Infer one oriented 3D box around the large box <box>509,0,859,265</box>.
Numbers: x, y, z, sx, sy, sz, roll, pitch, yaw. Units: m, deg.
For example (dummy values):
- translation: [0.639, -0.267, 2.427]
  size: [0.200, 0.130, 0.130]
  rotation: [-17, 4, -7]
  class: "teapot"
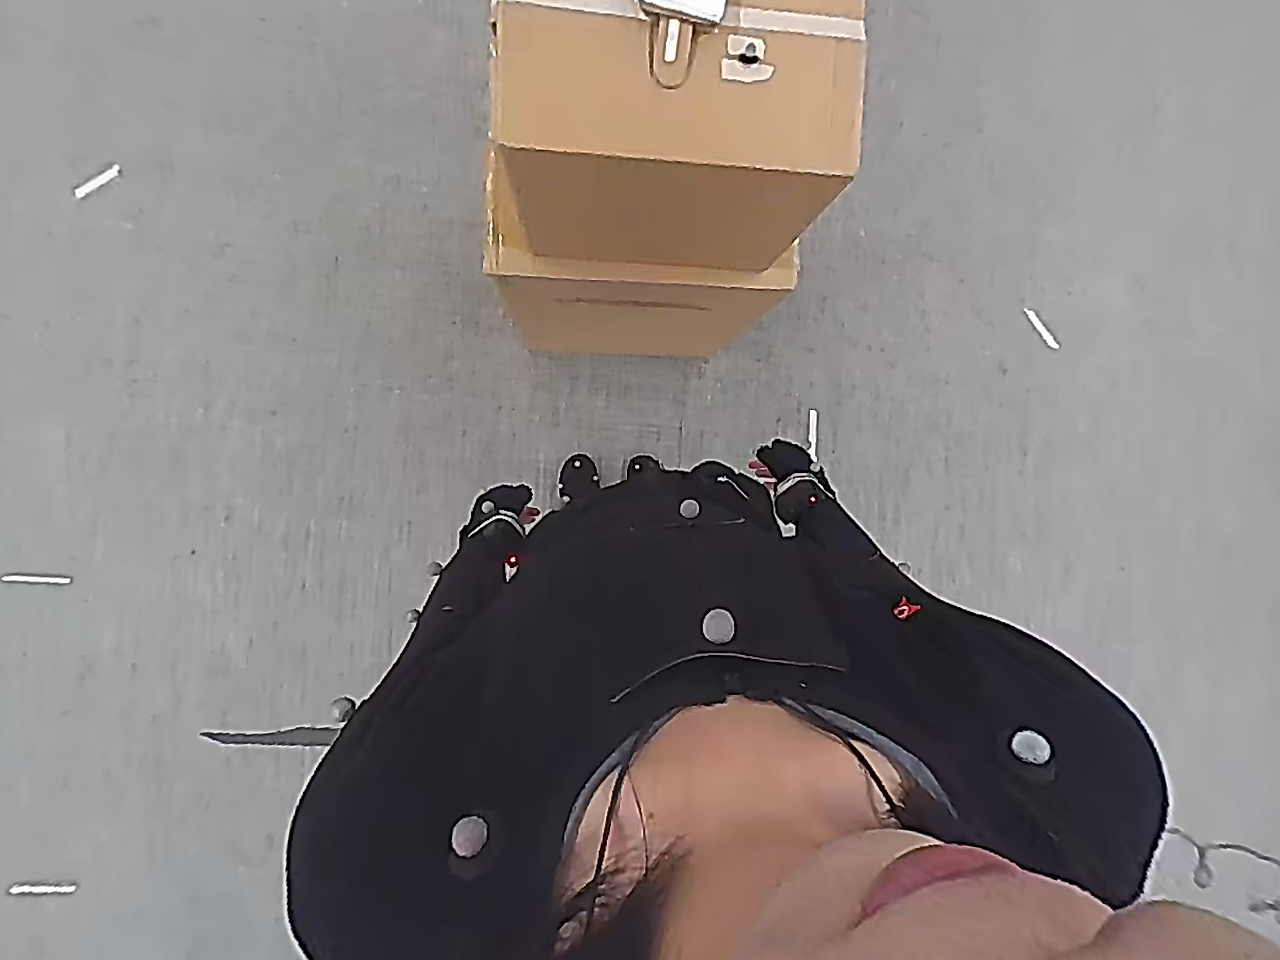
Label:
- translation: [0.037, -0.516, 0.754]
  size: [0.408, 0.320, 0.320]
  rotation: [1, 92, -7]
  class: "large box"
